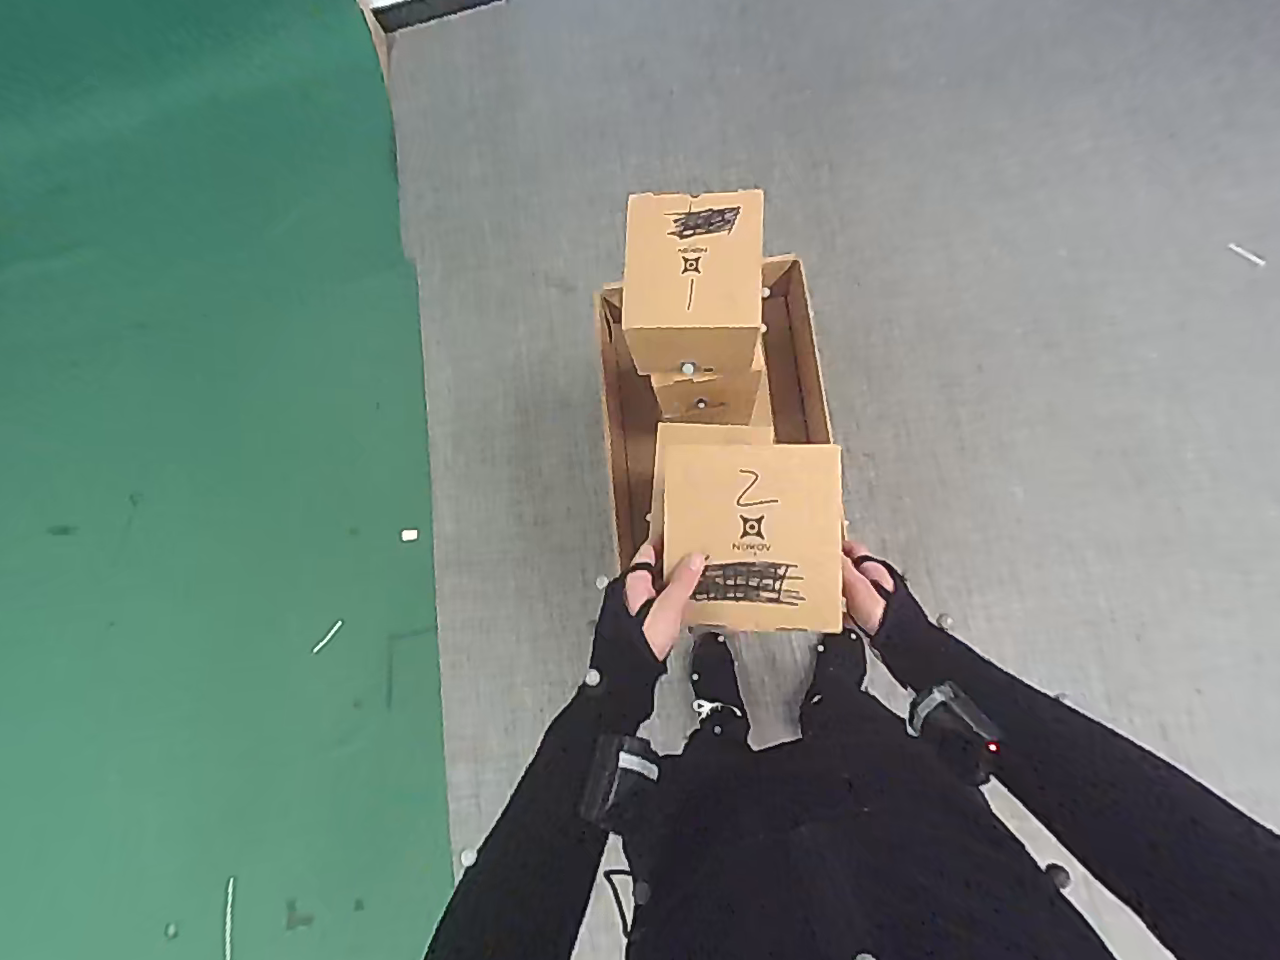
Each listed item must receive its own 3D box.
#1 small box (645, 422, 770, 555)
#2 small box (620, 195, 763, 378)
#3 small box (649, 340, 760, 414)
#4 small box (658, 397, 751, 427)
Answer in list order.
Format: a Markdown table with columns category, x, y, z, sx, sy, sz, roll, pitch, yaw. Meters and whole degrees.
| category | x | y | z | sx | sy | sz | roll | pitch | yaw |
| --- | --- | --- | --- | --- | --- | --- | --- | --- | --- |
| small box | 0.106 | 0.021 | 0.837 | 0.168 | 0.176 | 0.179 | 4 | 79 | 8 |
| small box | 0.070 | -0.250 | 0.726 | 0.168 | 0.176 | 0.179 | 2 | 83 | 7 |
| small box | 0.096 | -0.221 | 0.886 | 0.168 | 0.176 | 0.179 | -7 | 81 | 6 |
| small box | 0.116 | -0.198 | 1.045 | 0.168 | 0.176 | 0.179 | -7 | 81 | 7 |
